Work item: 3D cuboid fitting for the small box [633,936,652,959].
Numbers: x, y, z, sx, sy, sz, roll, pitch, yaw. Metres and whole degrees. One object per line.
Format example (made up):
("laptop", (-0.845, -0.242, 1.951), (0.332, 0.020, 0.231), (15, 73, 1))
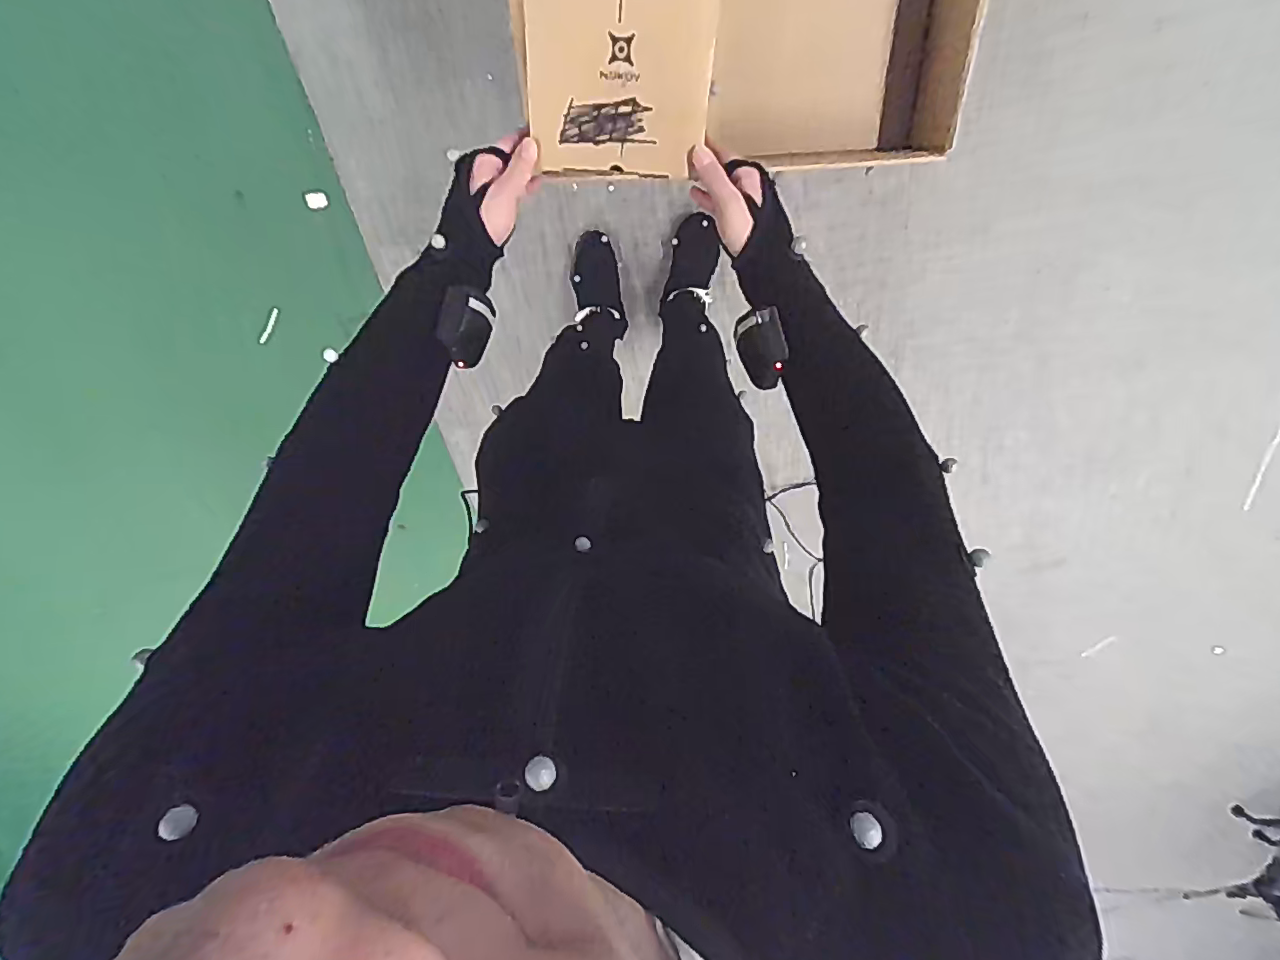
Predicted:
("small box", (-0.048, 1.788, 1.956), (0.168, 0.176, 0.179), (-11, 122, 5))

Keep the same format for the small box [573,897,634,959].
("small box", (-0.113, 1.495, 1.765), (0.168, 0.176, 0.179), (-9, 123, 5))

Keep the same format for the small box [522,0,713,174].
("small box", (-0.017, -0.423, 0.542), (0.168, 0.176, 0.179), (5, 125, 1))
